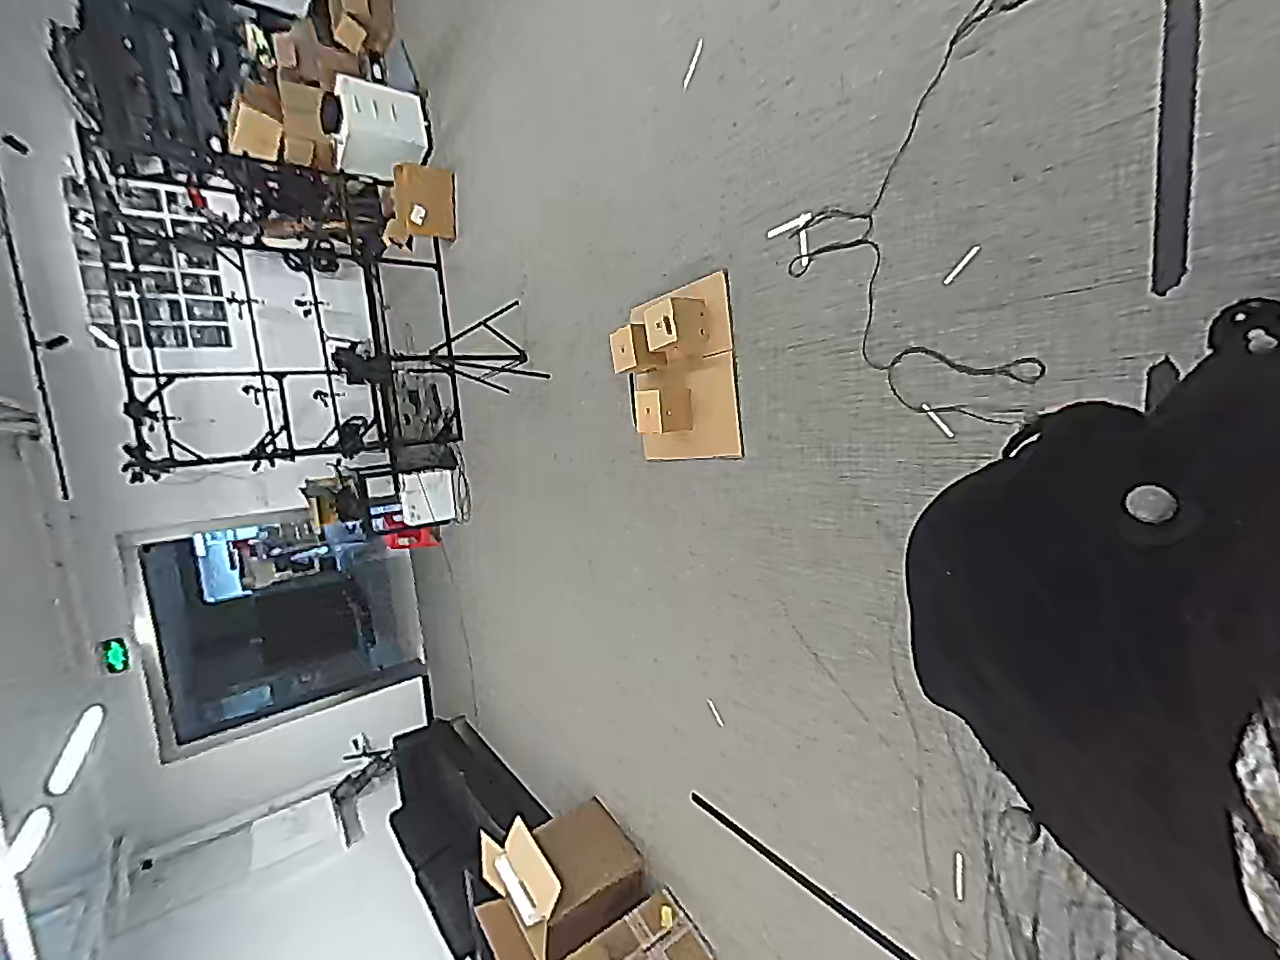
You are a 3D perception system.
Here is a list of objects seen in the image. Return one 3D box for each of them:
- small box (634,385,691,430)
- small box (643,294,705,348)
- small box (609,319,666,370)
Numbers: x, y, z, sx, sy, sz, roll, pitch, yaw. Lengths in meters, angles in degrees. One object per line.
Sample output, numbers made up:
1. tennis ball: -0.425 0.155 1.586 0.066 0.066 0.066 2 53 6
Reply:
1. small box: 0.093 -0.301 2.238 0.168 0.176 0.179 7 105 52
2. small box: 0.137 -0.615 2.105 0.179 0.176 0.168 -4 95 54
3. small box: -0.010 -0.576 2.316 0.168 0.176 0.179 -7 93 55
